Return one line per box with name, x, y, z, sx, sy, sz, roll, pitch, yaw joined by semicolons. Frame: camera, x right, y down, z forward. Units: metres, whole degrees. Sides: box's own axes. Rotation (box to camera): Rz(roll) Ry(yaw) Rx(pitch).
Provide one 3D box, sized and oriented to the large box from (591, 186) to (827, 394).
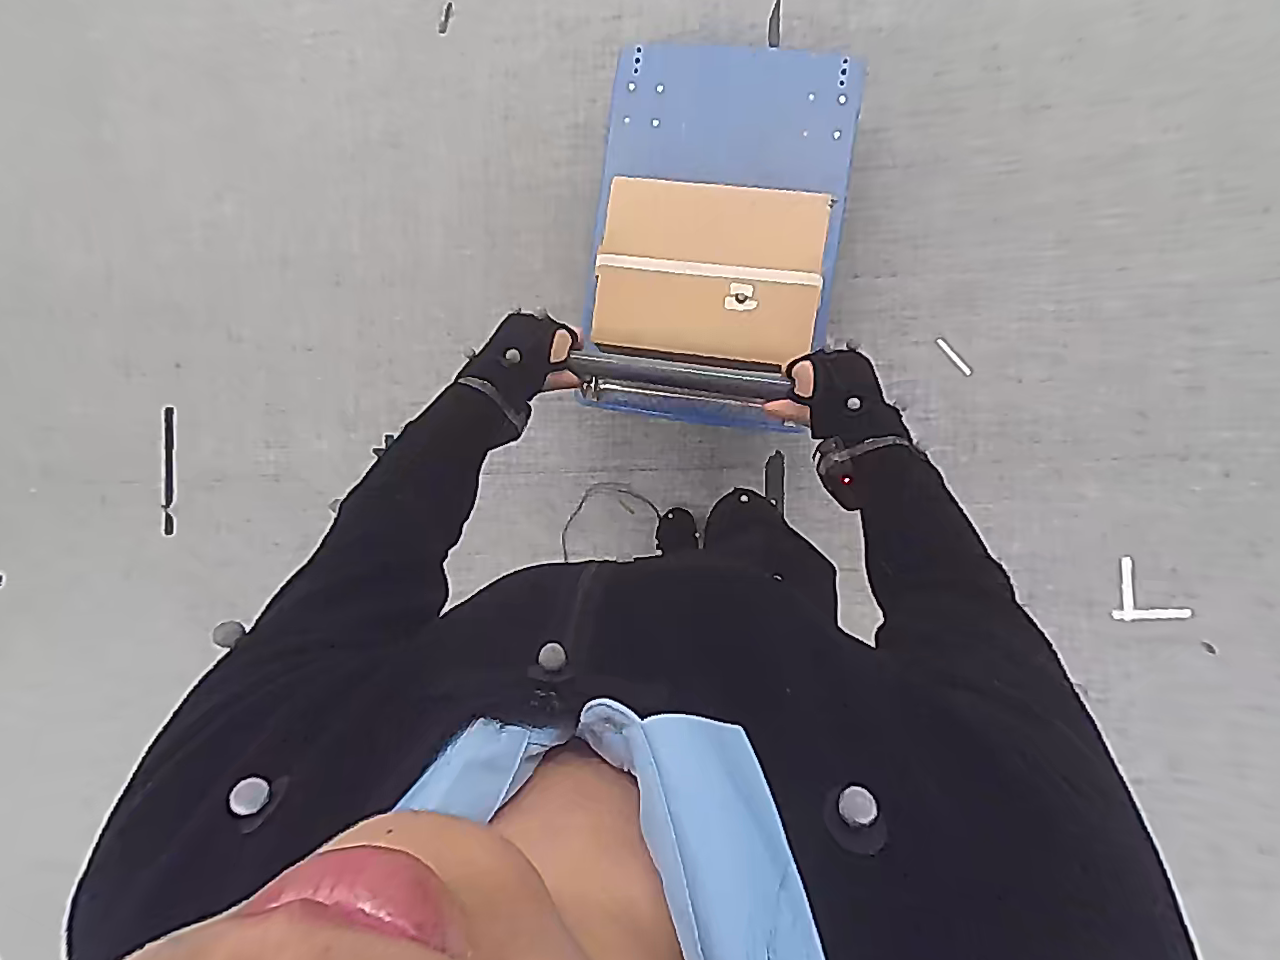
large box;0.134;-0.372;1.135;0.408;0.320;0.320;8;93;6
